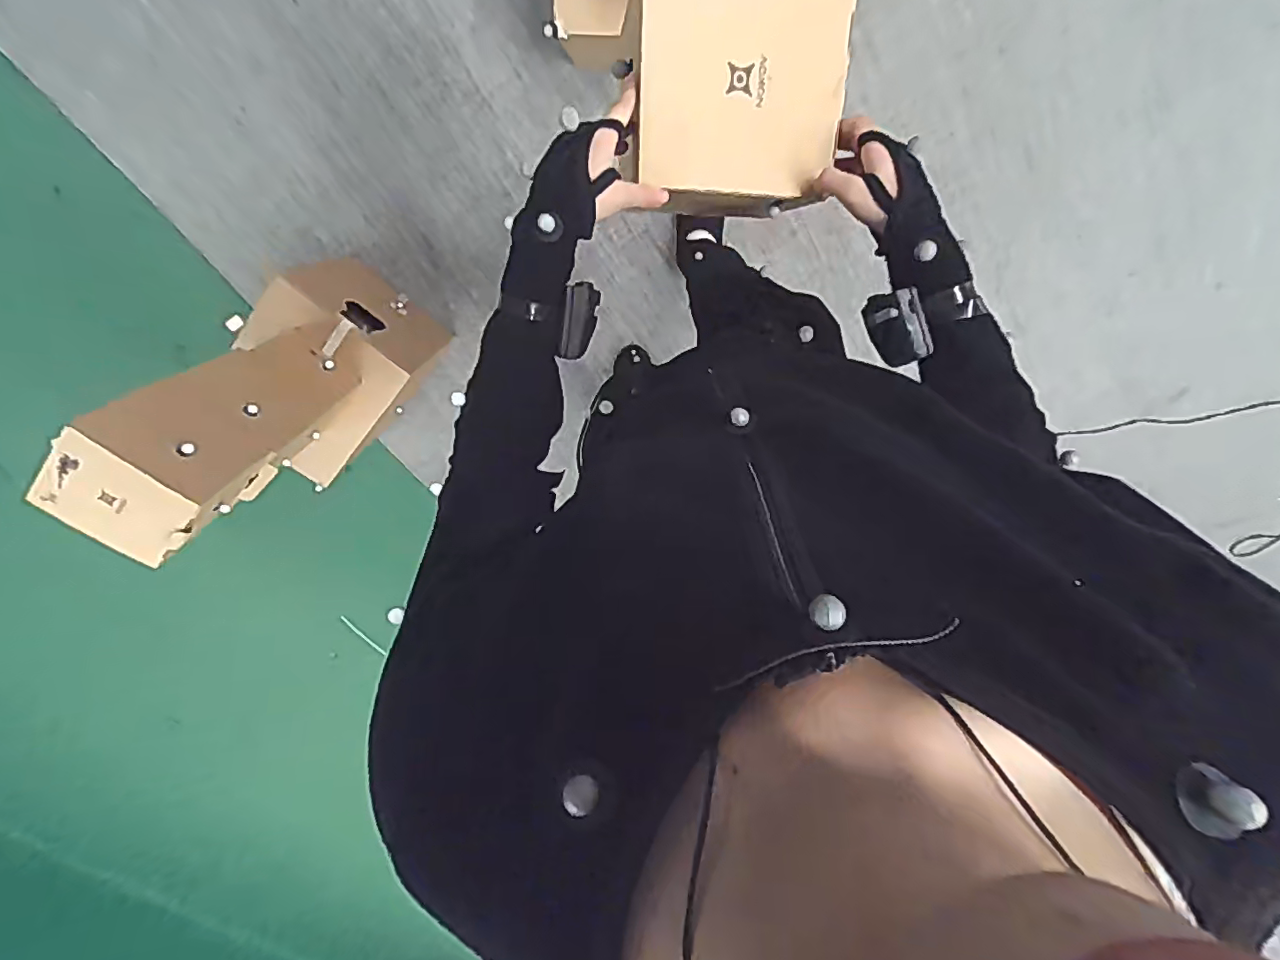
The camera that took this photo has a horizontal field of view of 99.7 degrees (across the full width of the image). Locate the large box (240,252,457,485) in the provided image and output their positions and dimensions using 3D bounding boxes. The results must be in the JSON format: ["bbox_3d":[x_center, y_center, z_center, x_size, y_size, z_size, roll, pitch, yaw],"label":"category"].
[{"bbox_3d":[-0.720,-0.275,1.320,0.320,0.320,0.408,40,115,-18],"label":"large box"}]

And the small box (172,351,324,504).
[{"bbox_3d":[-0.706,-0.097,0.951,0.168,0.176,0.179,-38,113,20],"label":"small box"}]

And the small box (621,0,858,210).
[{"bbox_3d":[0.076,-0.358,0.509,0.179,0.176,0.168,-1,109,-8],"label":"small box"}]

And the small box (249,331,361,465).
[{"bbox_3d":[-0.707,-0.170,1.098,0.179,0.176,0.168,-39,113,21],"label":"small box"}]

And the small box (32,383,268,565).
[{"bbox_3d":[-0.713,-0.014,0.809,0.168,0.176,0.179,-39,114,20],"label":"small box"}]
